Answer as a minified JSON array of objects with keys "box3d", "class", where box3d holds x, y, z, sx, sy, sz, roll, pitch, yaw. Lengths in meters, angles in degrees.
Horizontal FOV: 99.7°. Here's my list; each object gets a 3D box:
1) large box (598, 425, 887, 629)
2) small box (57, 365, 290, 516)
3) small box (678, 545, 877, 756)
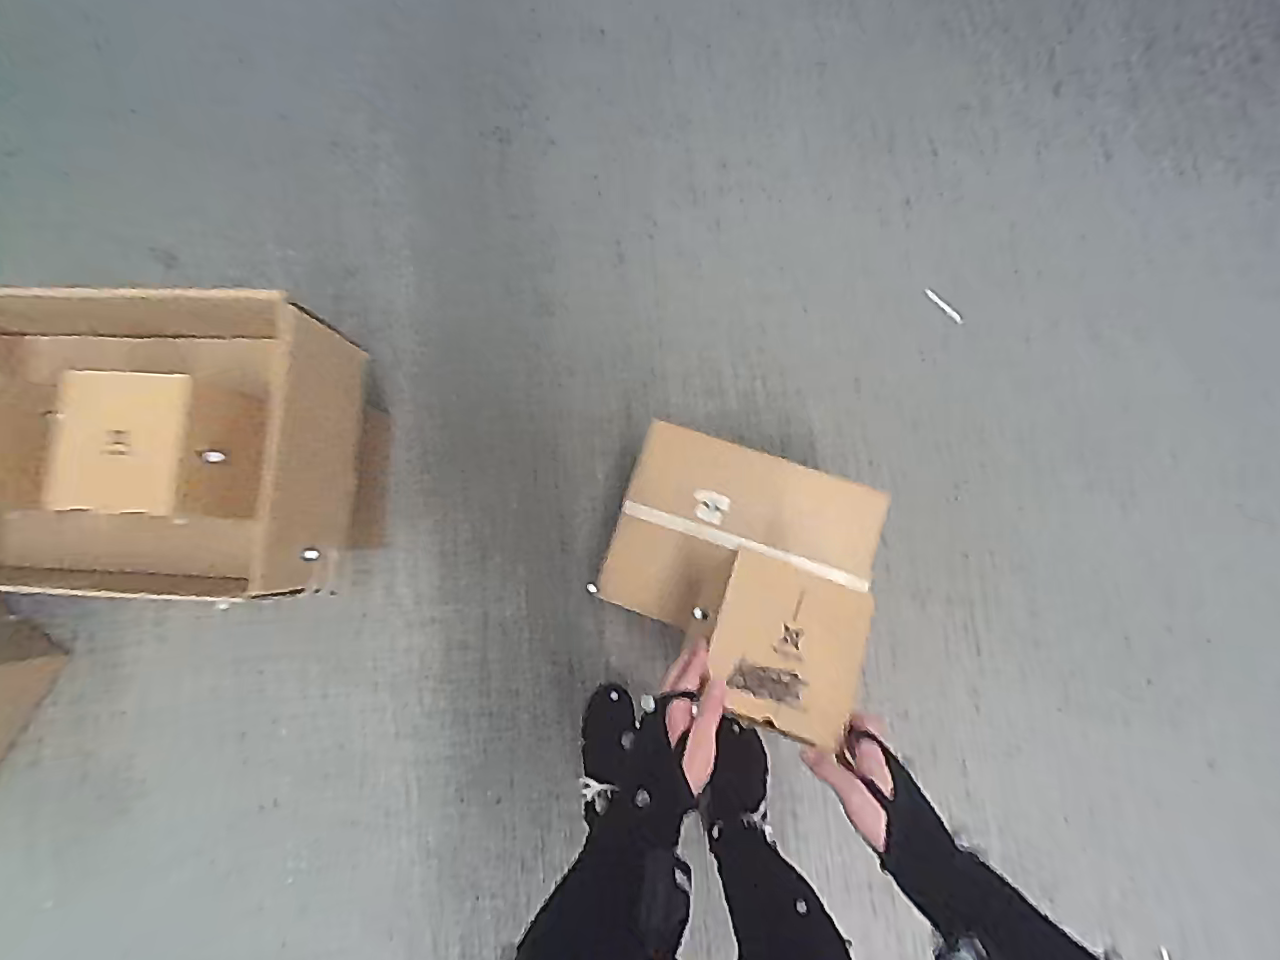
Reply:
[{"box3d":[0.178,0.124,1.021,0.408,0.320,0.320,19,85,7],"class":"large box"},{"box3d":[-0.617,-0.045,0.740,0.168,0.176,0.179,3,85,4],"class":"small box"},{"box3d":[0.153,0.202,0.651,0.168,0.176,0.179,21,69,1],"class":"small box"}]
